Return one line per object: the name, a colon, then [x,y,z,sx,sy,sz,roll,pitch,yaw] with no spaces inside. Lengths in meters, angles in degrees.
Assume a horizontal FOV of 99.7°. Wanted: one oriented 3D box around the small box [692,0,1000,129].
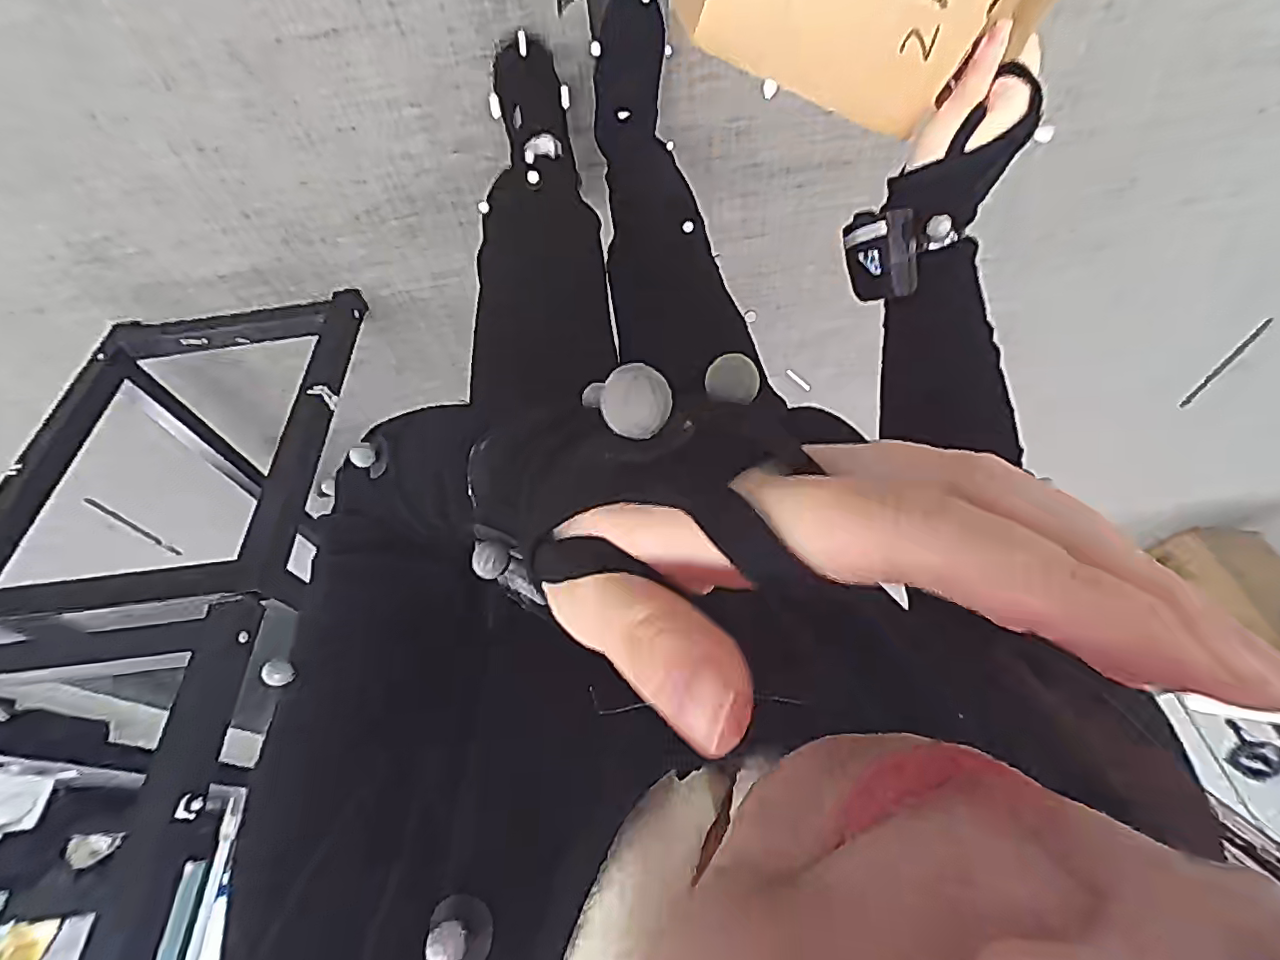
small box: [0.133,-0.370,0.342,0.179,0.176,0.168,10,141,-20]
